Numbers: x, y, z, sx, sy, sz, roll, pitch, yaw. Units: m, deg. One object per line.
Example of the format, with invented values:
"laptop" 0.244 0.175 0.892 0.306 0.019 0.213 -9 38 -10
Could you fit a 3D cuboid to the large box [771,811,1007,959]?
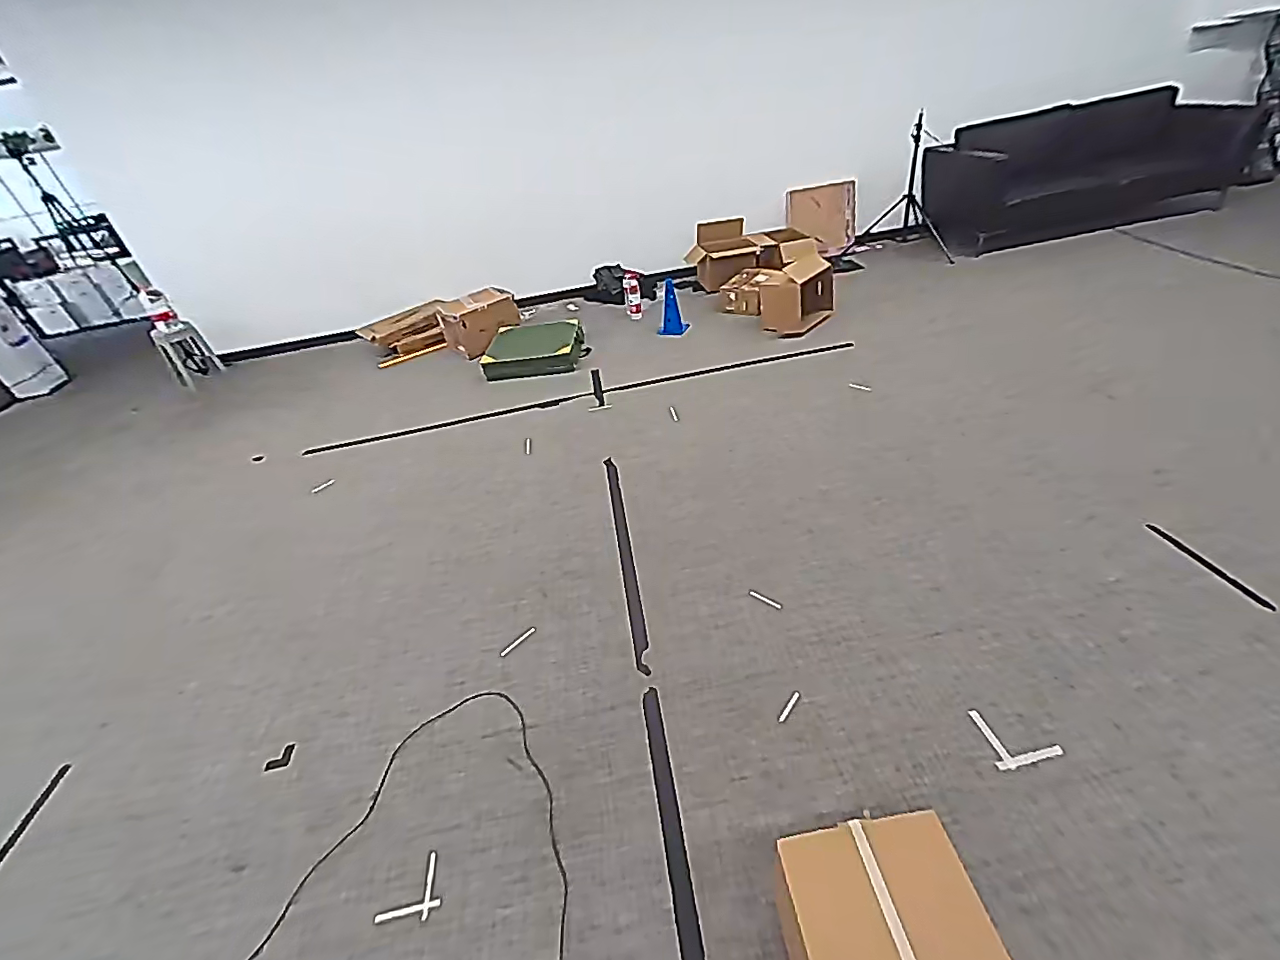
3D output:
"large box" 0.449 0.894 0.969 0.320 0.320 0.408 -10 37 -1
